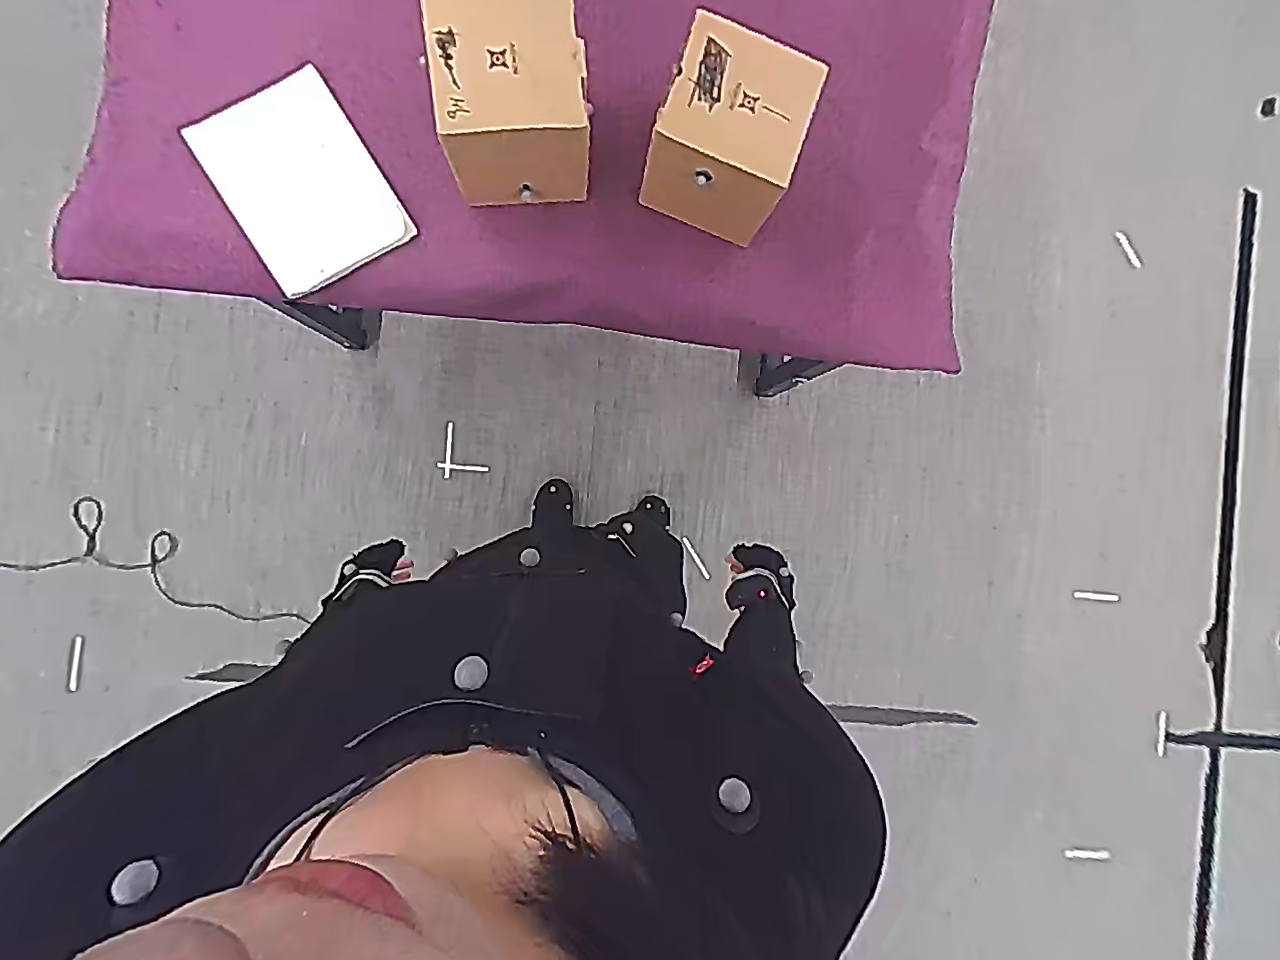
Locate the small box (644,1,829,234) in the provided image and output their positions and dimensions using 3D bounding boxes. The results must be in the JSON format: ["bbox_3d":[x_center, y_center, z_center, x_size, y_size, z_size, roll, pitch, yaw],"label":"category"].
[{"bbox_3d":[0.114,-0.463,0.723,0.179,0.176,0.168,20,87,-6],"label":"small box"}]

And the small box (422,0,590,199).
[{"bbox_3d":[-0.163,-0.487,0.696,0.179,0.176,0.168,-7,90,-6],"label":"small box"}]
